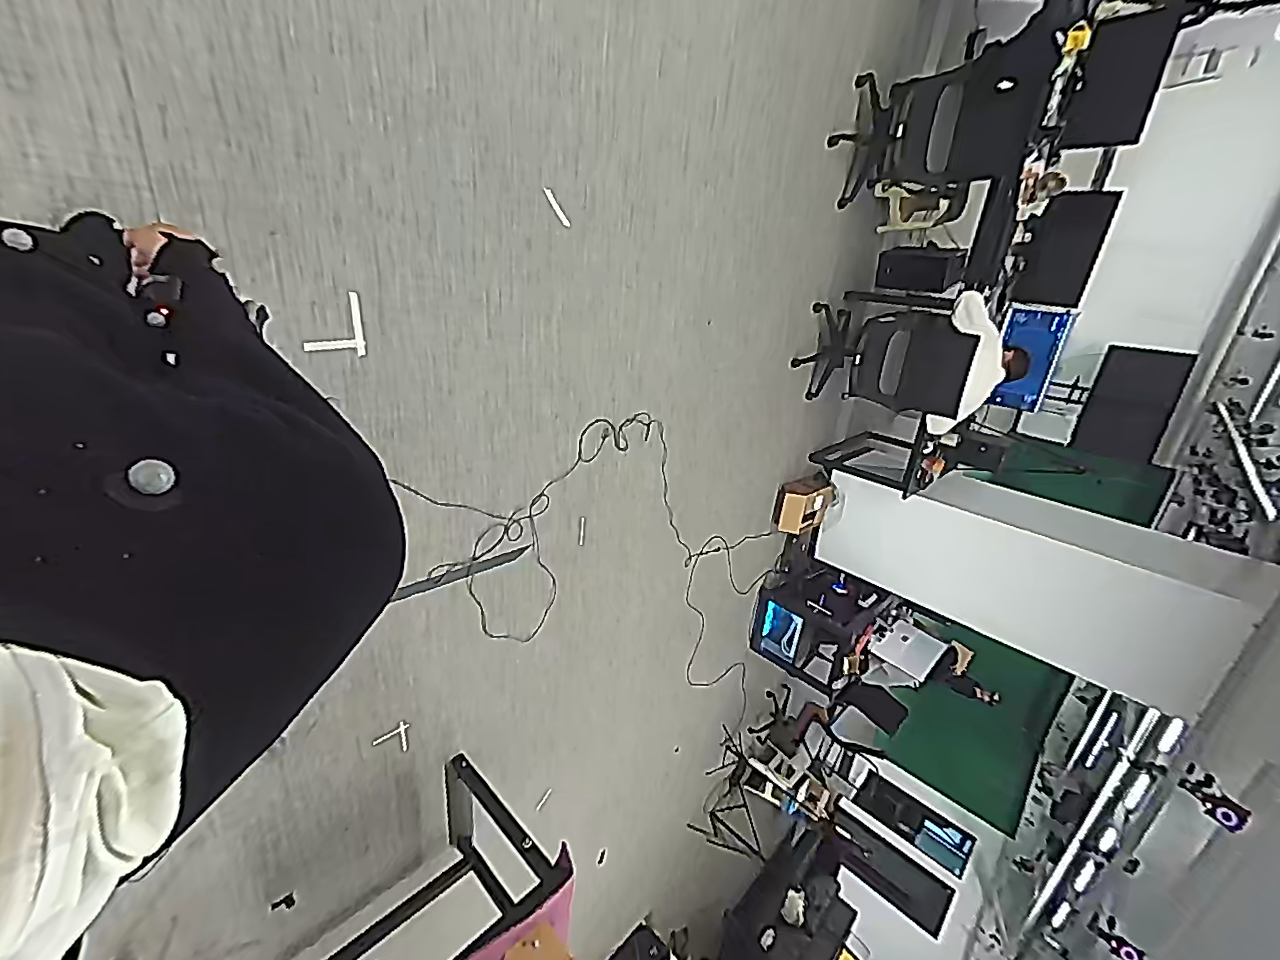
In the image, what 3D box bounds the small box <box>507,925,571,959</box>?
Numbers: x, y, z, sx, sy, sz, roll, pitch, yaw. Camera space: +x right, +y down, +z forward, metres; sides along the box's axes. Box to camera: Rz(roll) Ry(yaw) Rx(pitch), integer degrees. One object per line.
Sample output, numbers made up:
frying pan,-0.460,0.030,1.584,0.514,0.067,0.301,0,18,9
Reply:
small box,-0.337,1.646,1.787,0.168,0.176,0.179,-4,111,-48
